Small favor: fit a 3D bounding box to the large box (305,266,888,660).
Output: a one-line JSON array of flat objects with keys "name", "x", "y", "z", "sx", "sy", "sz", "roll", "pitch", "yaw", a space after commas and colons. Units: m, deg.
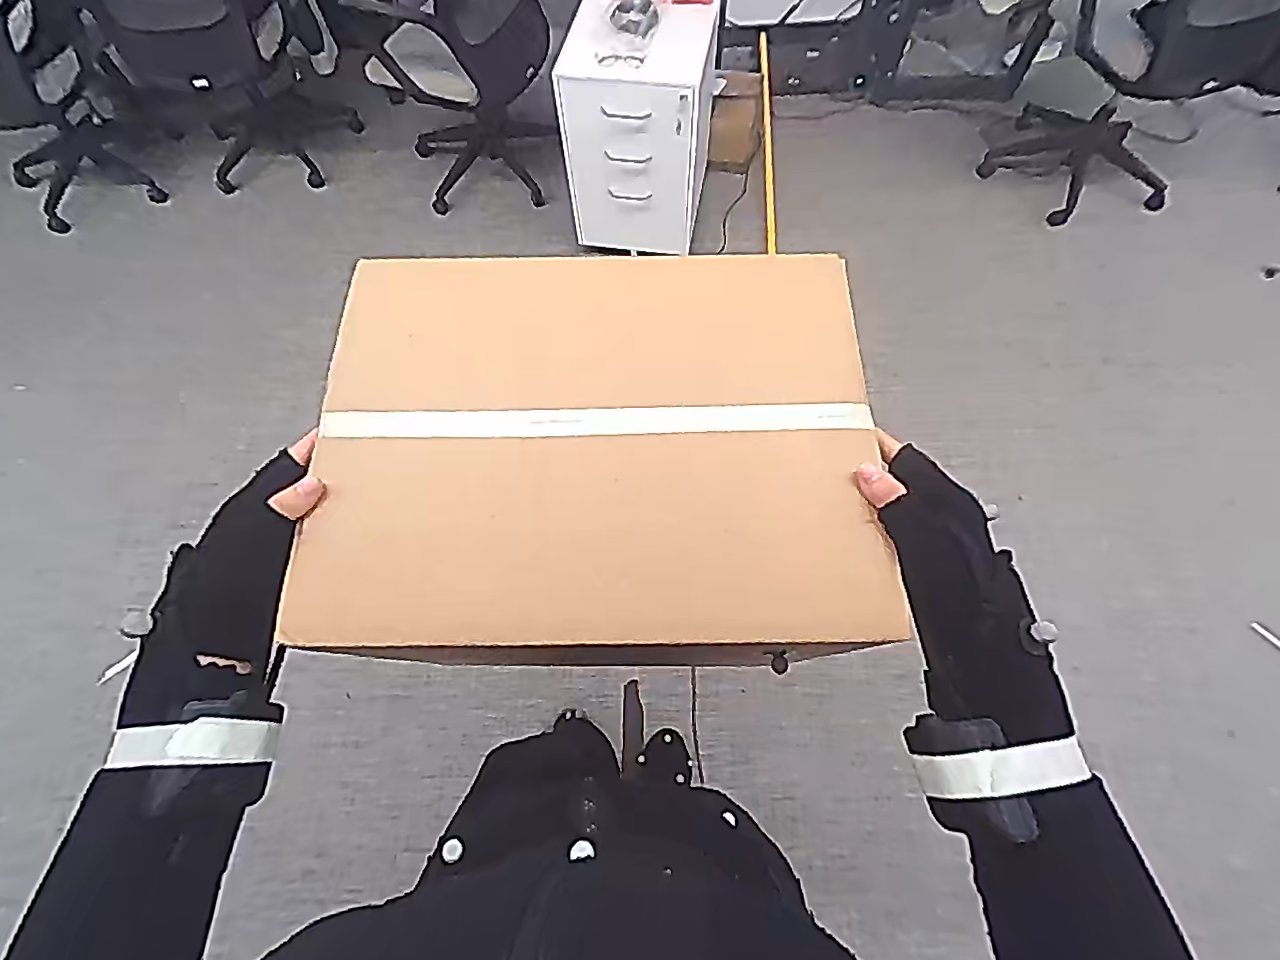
[{"name": "large box", "x": -0.029, "y": 0.015, "z": 0.554, "sx": 0.408, "sy": 0.320, "sz": 0.320, "roll": -1, "pitch": 69, "yaw": 1}]
